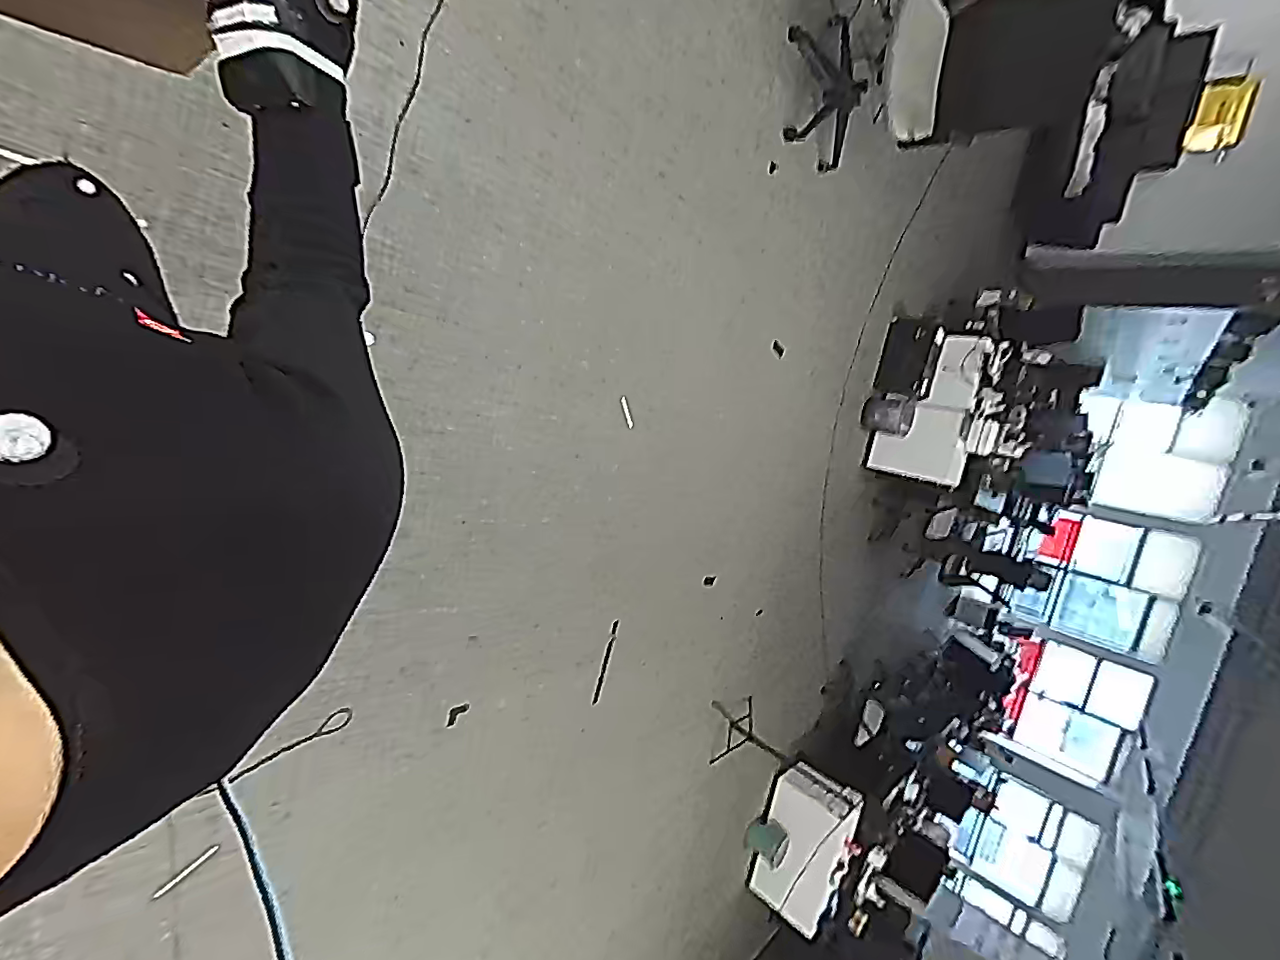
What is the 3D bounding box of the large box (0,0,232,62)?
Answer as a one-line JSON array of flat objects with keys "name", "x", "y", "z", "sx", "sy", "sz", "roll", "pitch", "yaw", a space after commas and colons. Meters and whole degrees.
[{"name": "large box", "x": -0.498, "y": -0.506, "z": 0.288, "sx": 0.408, "sy": 0.320, "sz": 0.320, "roll": -11, "pitch": 117, "yaw": -46}]
